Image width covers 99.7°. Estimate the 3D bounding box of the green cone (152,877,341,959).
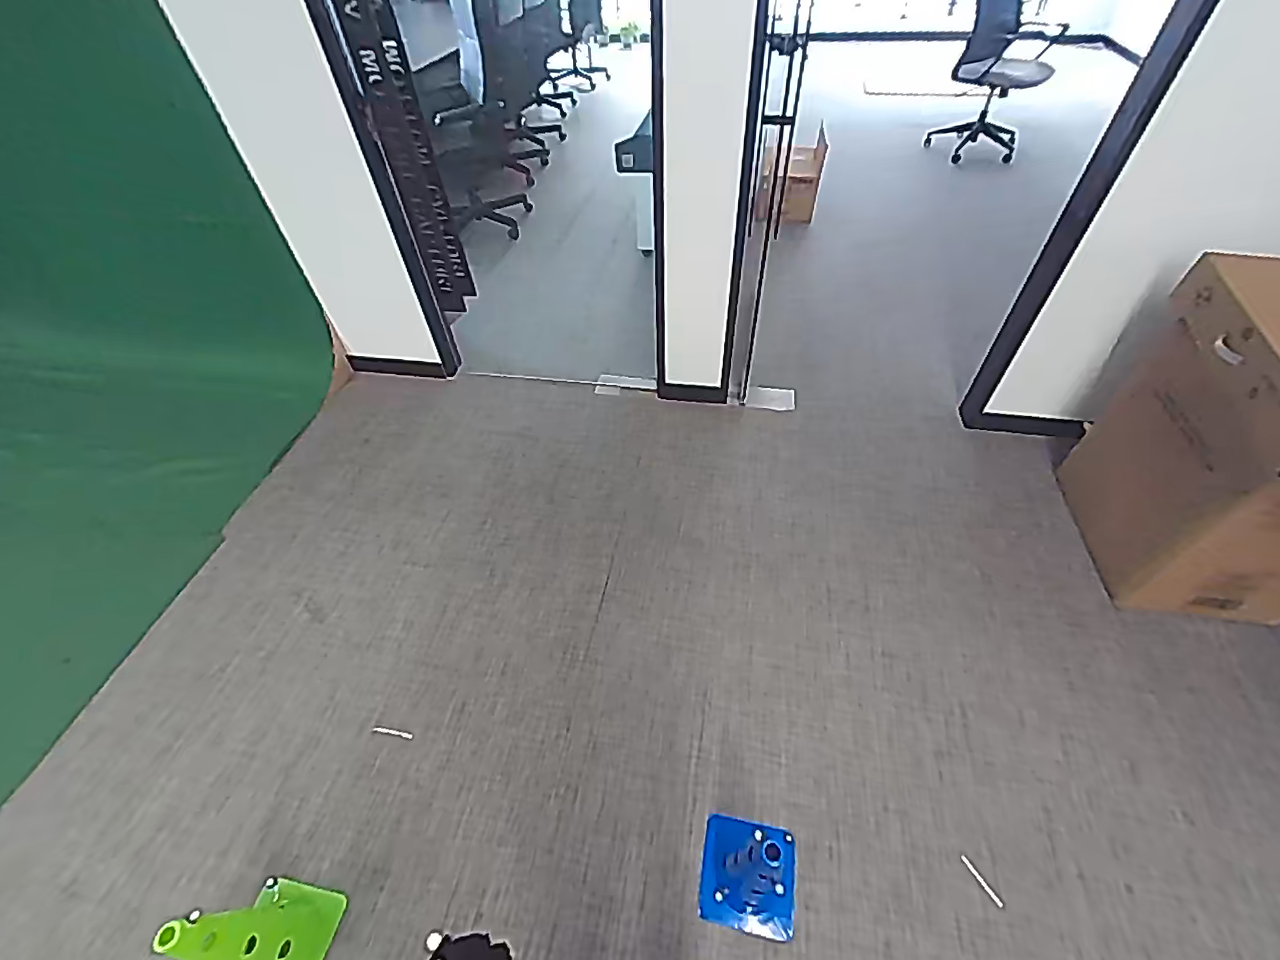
[{"bbox_3d":[-0.758,0.849,0.992,0.202,0.368,0.200,7,49,8],"label":"green cone"}]
